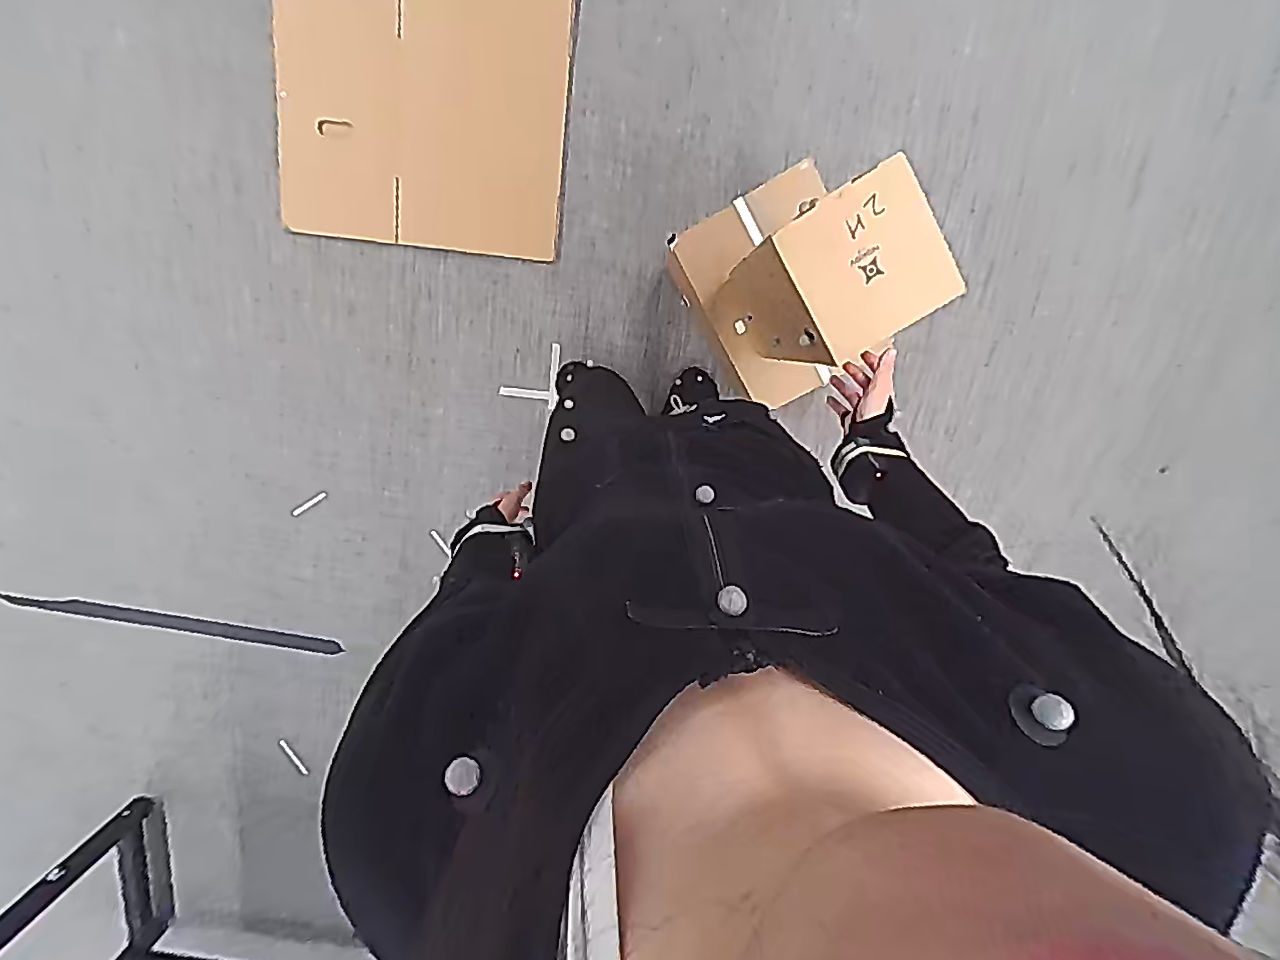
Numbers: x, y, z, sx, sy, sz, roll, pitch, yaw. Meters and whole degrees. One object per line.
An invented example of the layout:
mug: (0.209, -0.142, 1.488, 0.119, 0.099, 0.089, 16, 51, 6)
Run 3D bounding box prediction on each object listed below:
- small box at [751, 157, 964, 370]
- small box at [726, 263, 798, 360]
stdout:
small box: (0.263, -0.262, 0.692, 0.168, 0.176, 0.179, -31, 101, 8)
small box: (0.276, -0.341, 1.012, 0.168, 0.176, 0.179, -31, 101, 9)
